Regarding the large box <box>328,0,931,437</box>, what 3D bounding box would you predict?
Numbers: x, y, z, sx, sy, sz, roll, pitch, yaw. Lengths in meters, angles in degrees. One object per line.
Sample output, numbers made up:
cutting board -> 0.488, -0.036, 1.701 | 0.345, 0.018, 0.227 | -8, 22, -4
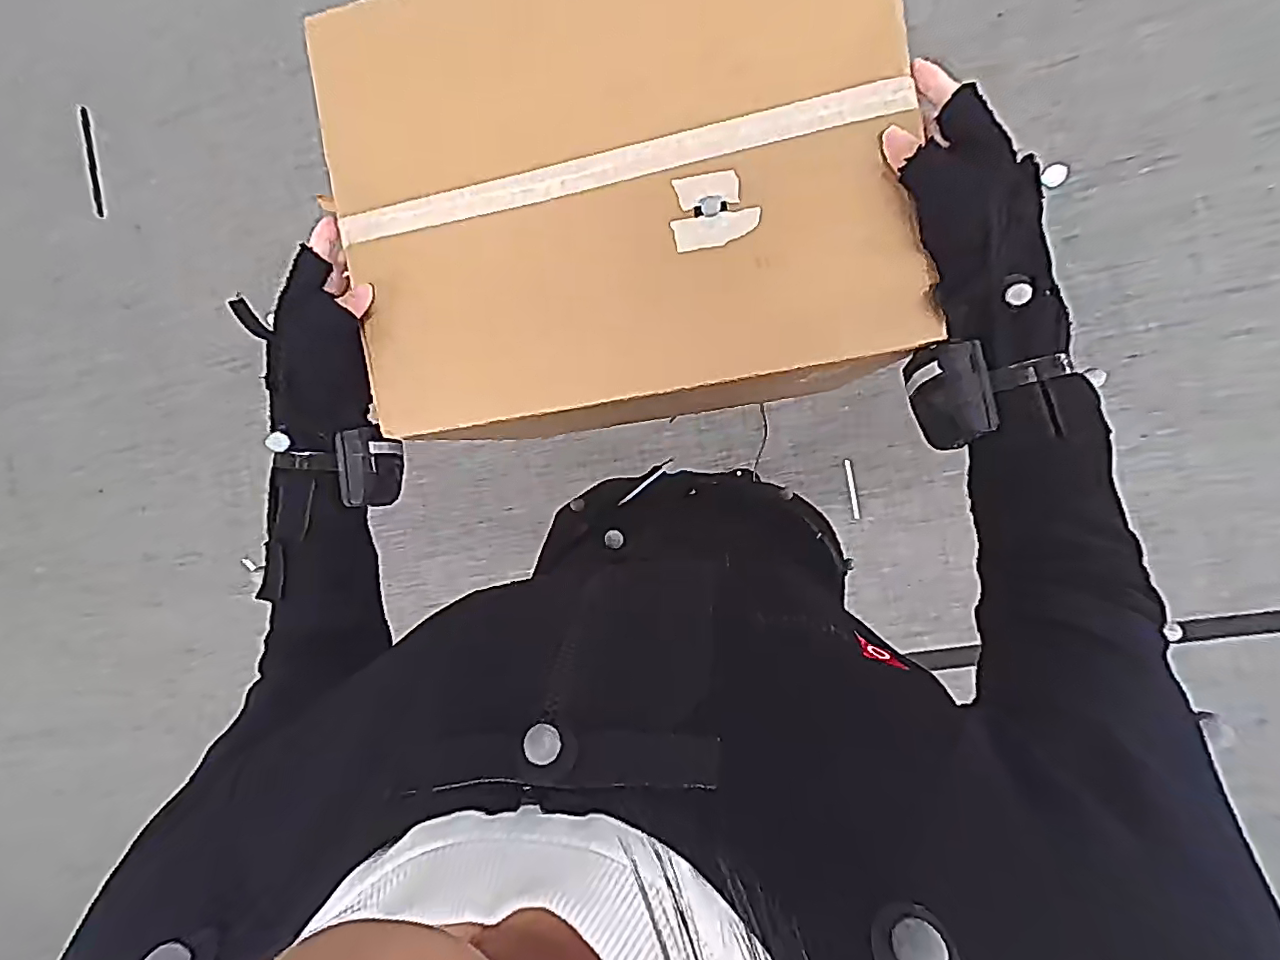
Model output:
large box -> -0.002, -0.229, 0.535 | 0.408, 0.320, 0.320 | -9, 94, 7
